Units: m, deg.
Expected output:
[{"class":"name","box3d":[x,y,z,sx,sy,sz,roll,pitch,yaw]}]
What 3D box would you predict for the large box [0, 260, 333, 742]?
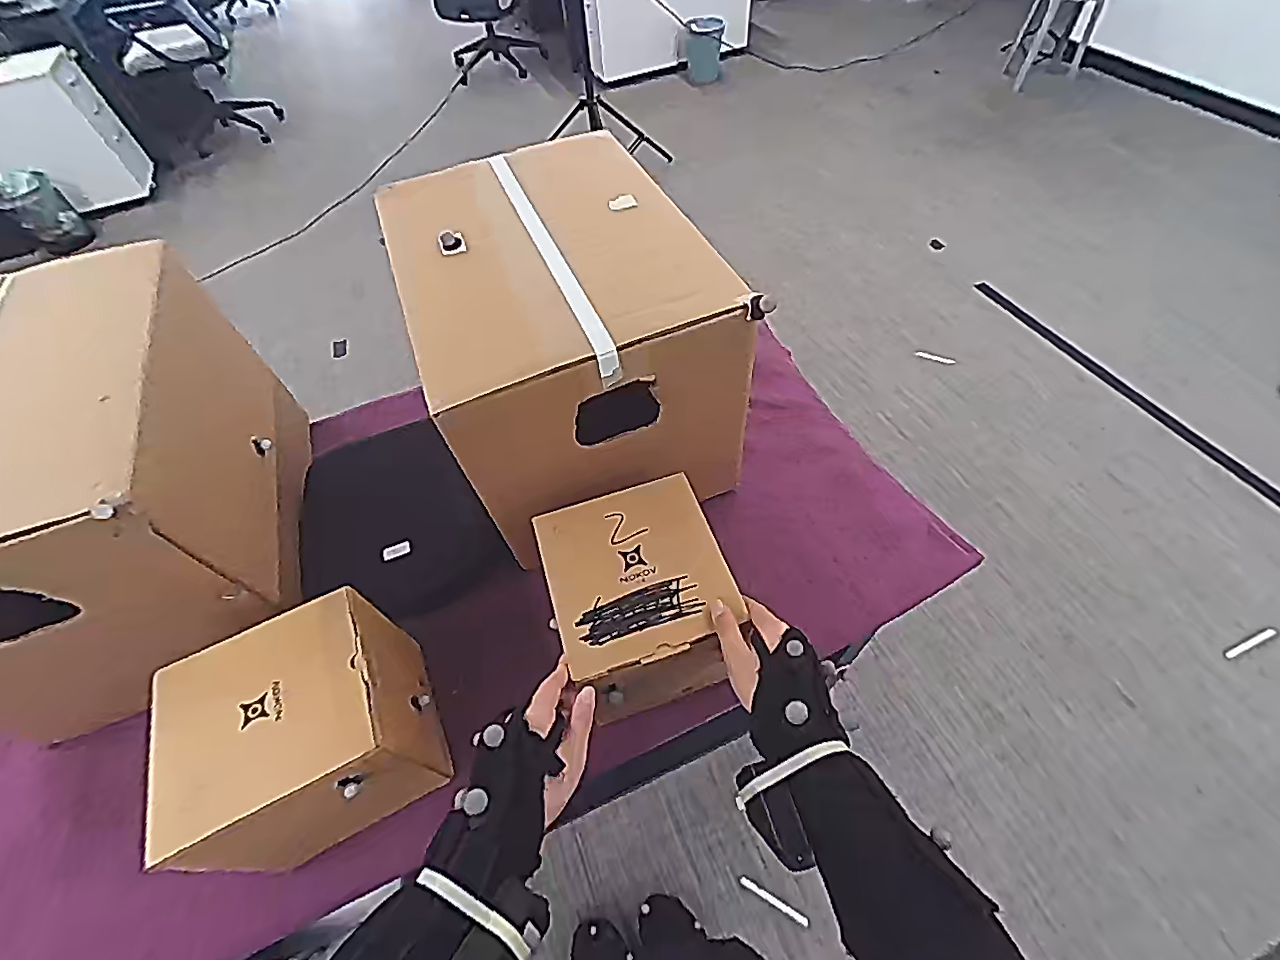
[{"class":"large box","box3d":[-0.609,0.022,0.631,0.320,0.320,0.408,-22,58,-10]}]
